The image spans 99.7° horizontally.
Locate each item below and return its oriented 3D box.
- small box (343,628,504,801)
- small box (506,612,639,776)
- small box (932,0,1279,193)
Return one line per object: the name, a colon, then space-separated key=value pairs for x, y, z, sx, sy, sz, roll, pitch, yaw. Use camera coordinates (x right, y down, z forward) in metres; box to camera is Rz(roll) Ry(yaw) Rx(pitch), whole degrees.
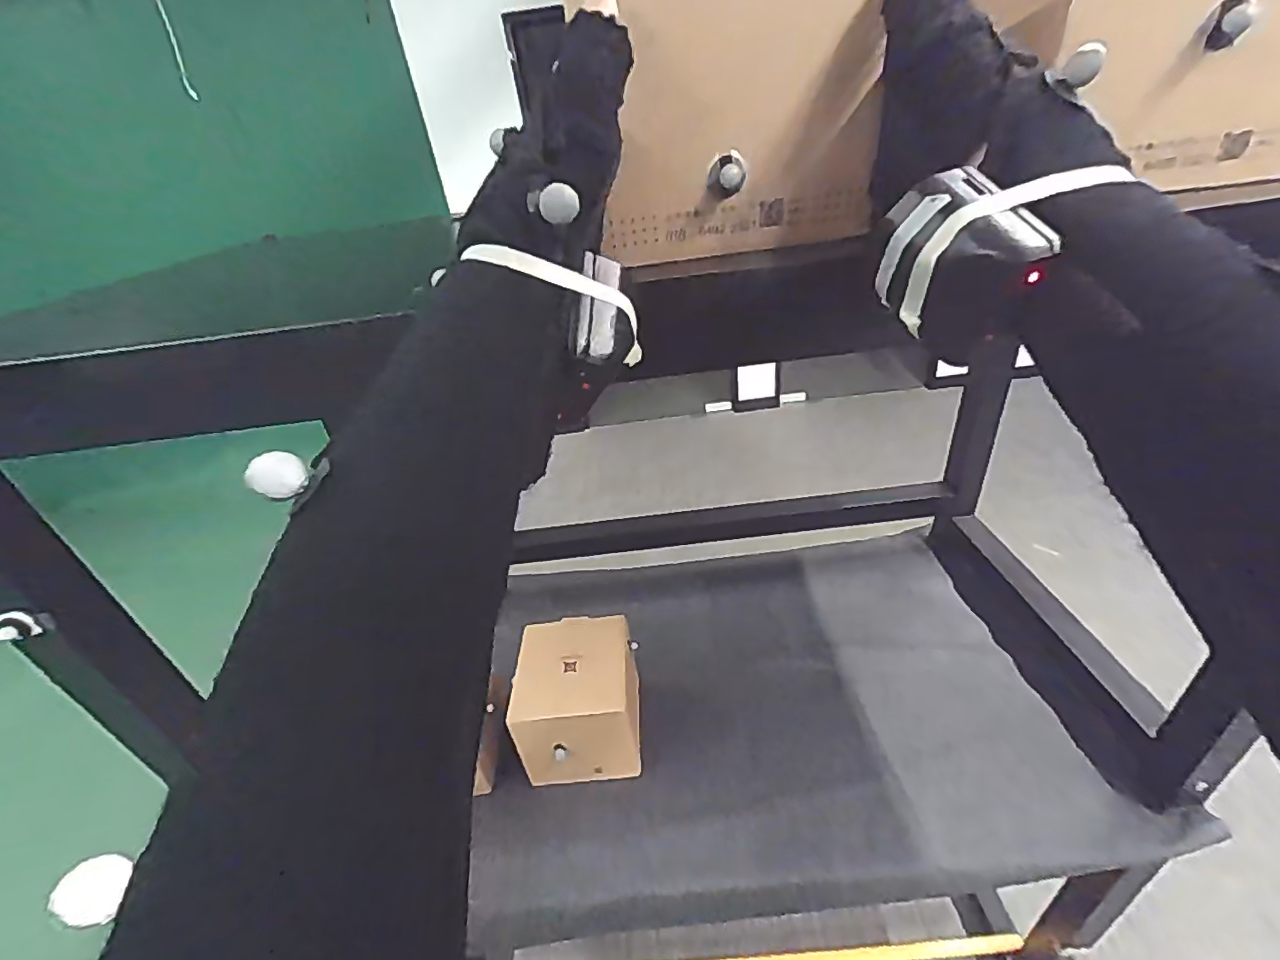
small box: x=-0.318 y=0.361 z=0.840 sx=0.168 sy=0.176 sz=0.179 roll=-8 pitch=32 yaw=0
small box: x=-0.093 y=0.334 z=0.837 sx=0.168 sy=0.176 sz=0.179 roll=-7 pitch=31 yaw=2
small box: x=0.313 y=-0.292 z=0.351 sx=0.168 sy=0.176 sz=0.179 roll=-2 pitch=32 yaw=10
